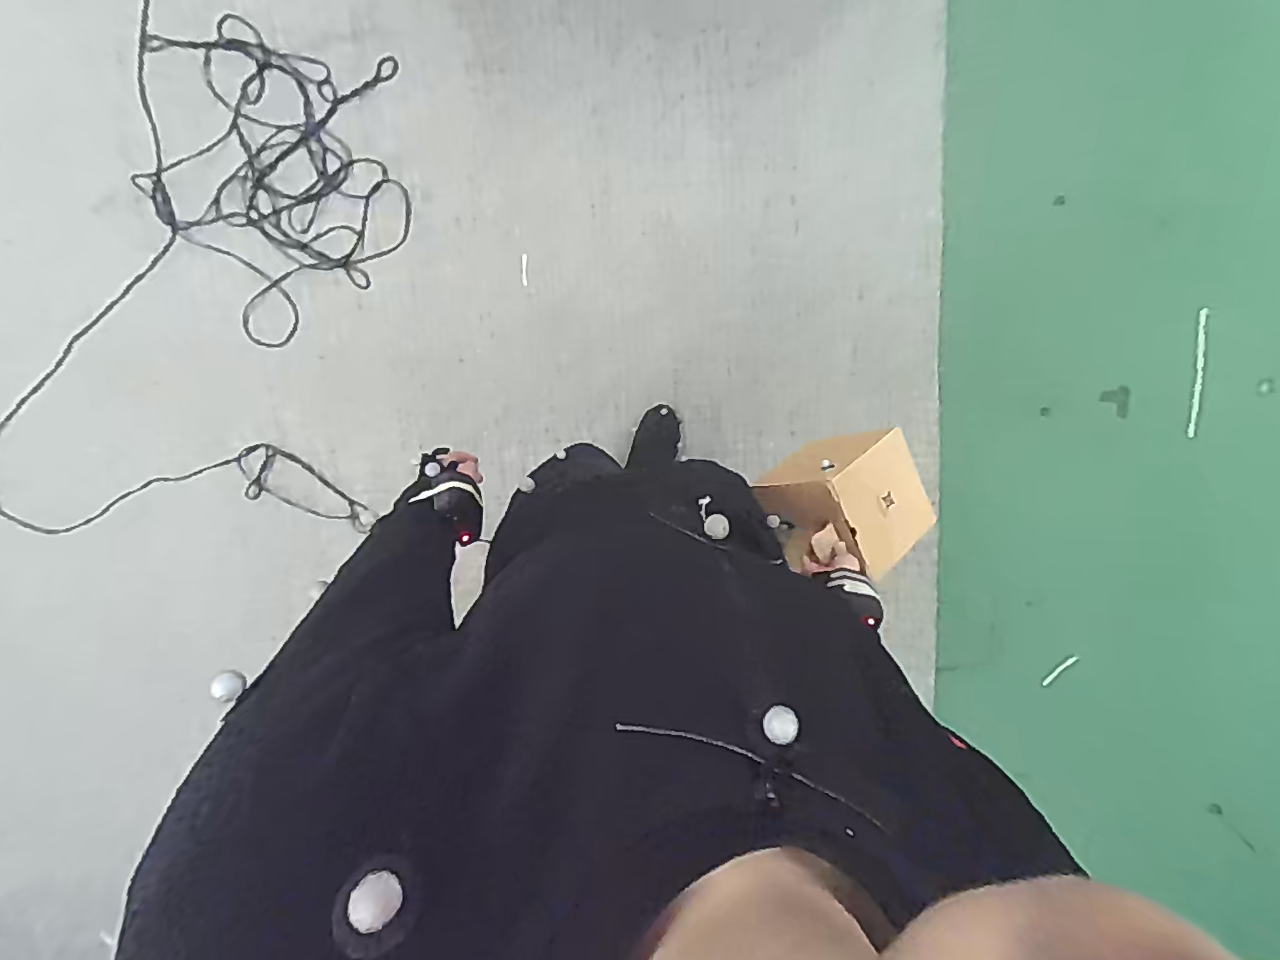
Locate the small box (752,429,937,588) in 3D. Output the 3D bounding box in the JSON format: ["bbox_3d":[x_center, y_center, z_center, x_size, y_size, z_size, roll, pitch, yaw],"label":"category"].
[{"bbox_3d":[0.305,0.039,0.819,0.179,0.176,0.168,-33,103,-28],"label":"small box"}]
